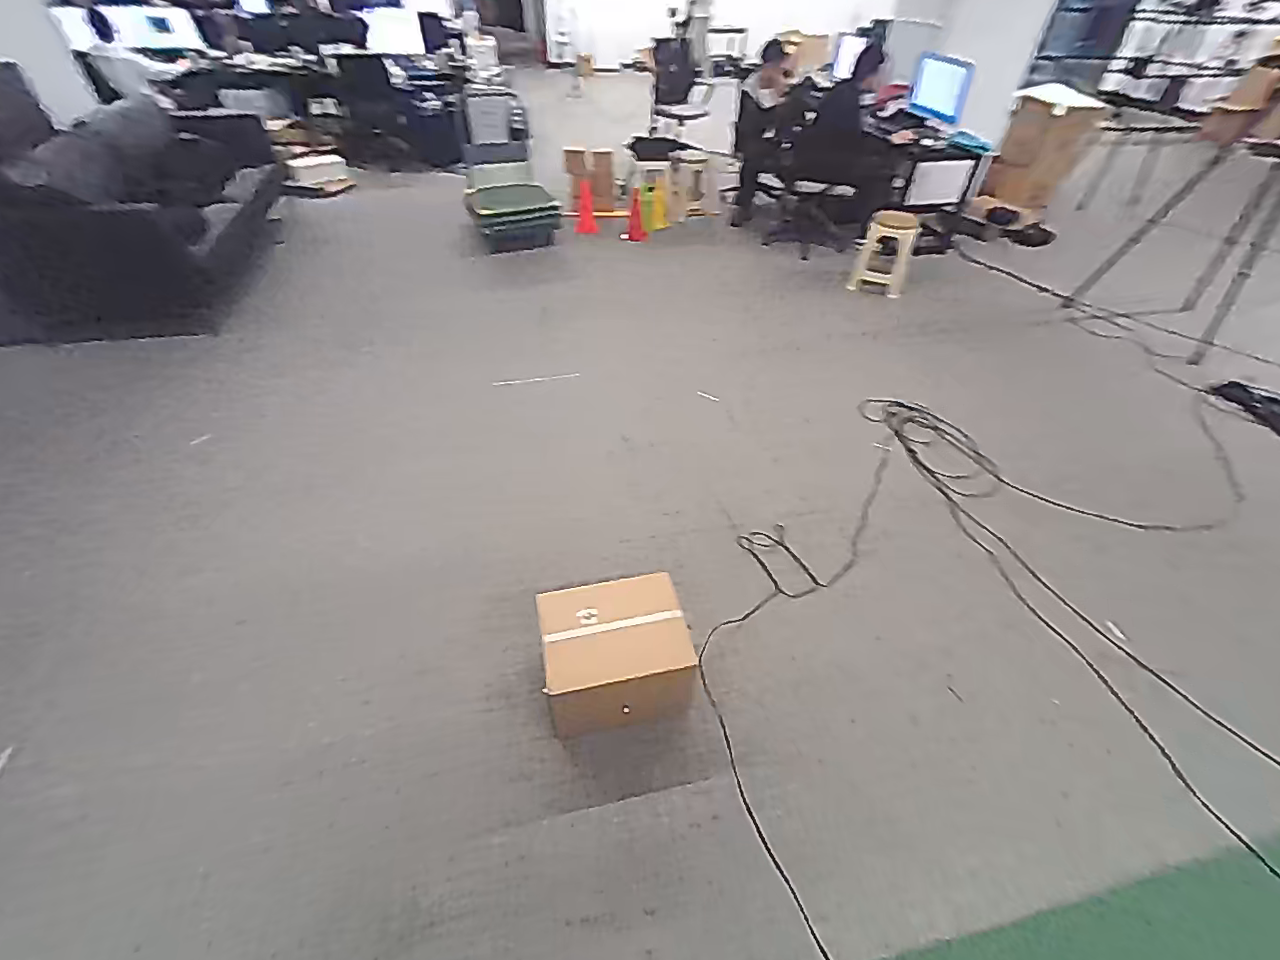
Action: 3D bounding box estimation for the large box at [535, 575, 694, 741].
[{"bbox_3d":[-0.081,0.533,1.628,0.408,0.320,0.320,-10,45,-11],"label":"large box"}]
